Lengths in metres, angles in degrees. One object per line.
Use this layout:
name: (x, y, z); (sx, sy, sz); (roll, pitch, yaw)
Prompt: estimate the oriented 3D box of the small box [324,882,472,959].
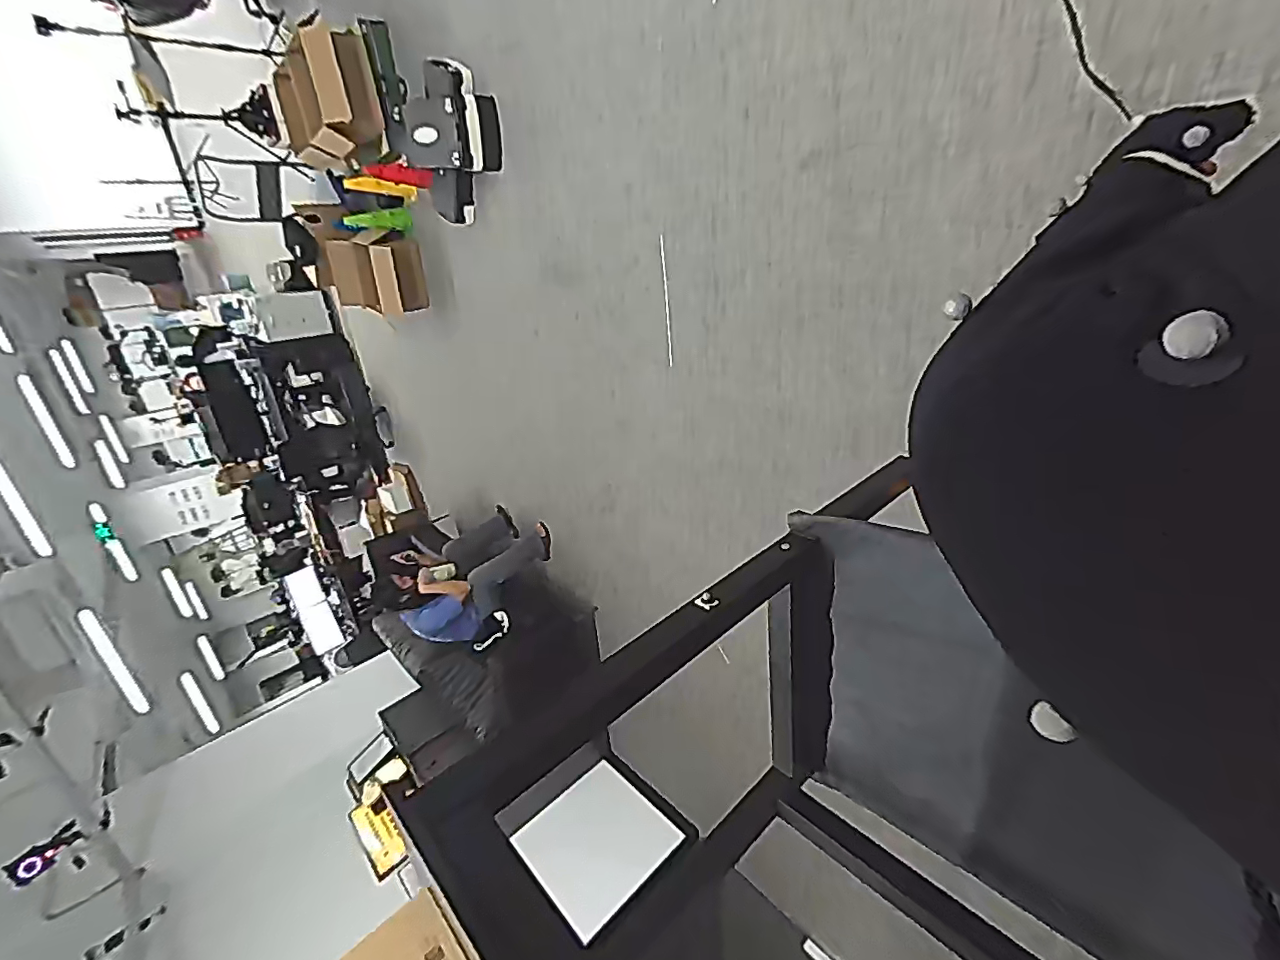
small box: (-0.206, 0.500, 0.454); (0.168, 0.176, 0.179); (22, 126, 42)
